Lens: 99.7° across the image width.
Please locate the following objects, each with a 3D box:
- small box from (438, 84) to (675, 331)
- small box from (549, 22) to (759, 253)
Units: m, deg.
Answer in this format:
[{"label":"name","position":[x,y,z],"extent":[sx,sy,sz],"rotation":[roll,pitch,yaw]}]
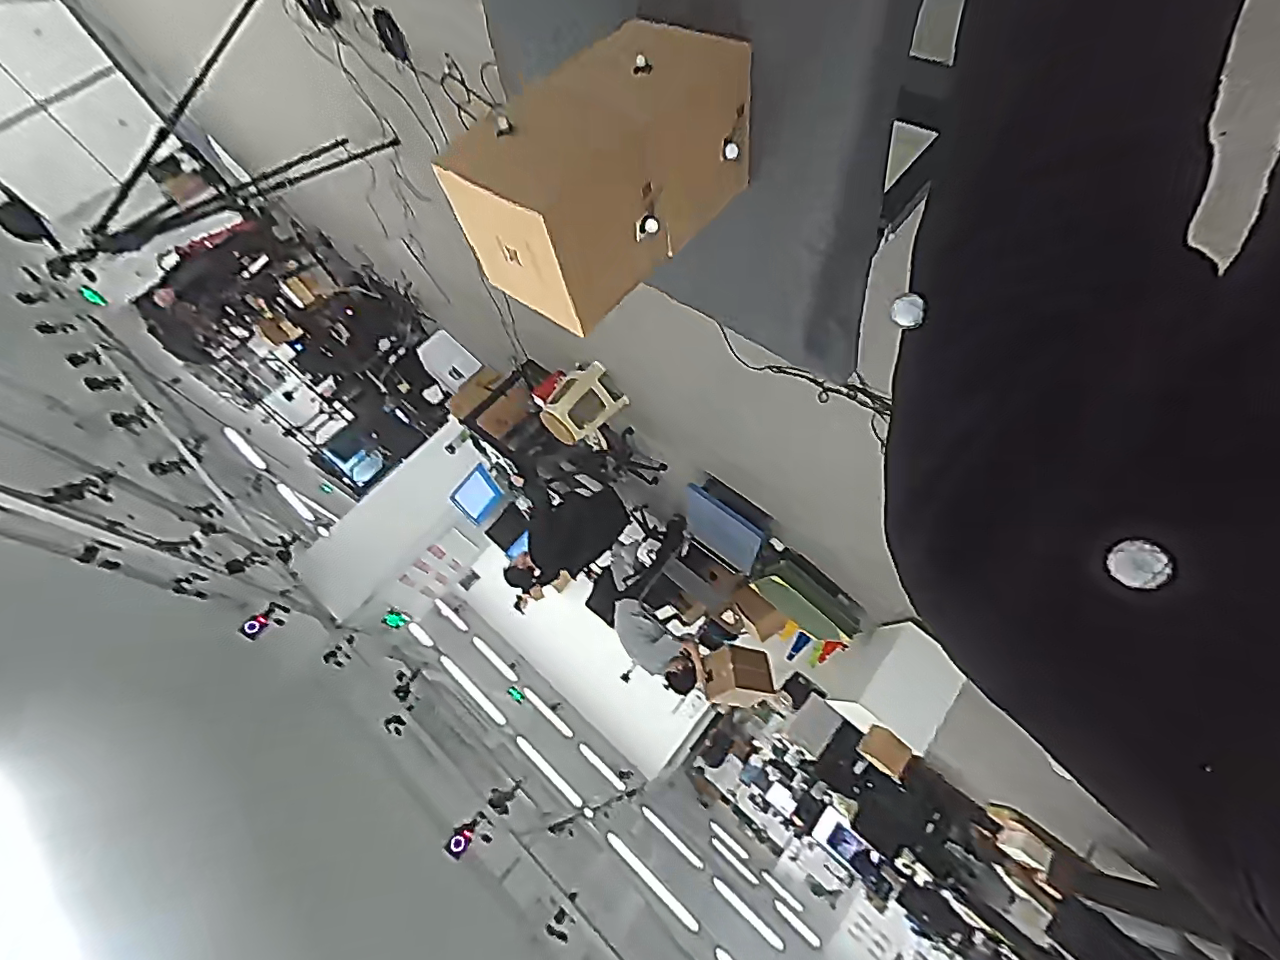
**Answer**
[{"label":"small box","position":[-0.083,-0.312,0.617],"extent":[0.179,0.176,0.168],"rotation":[34,163,24]},{"label":"small box","position":[0.023,-0.424,0.667],"extent":[0.179,0.176,0.168],"rotation":[34,162,25]}]
